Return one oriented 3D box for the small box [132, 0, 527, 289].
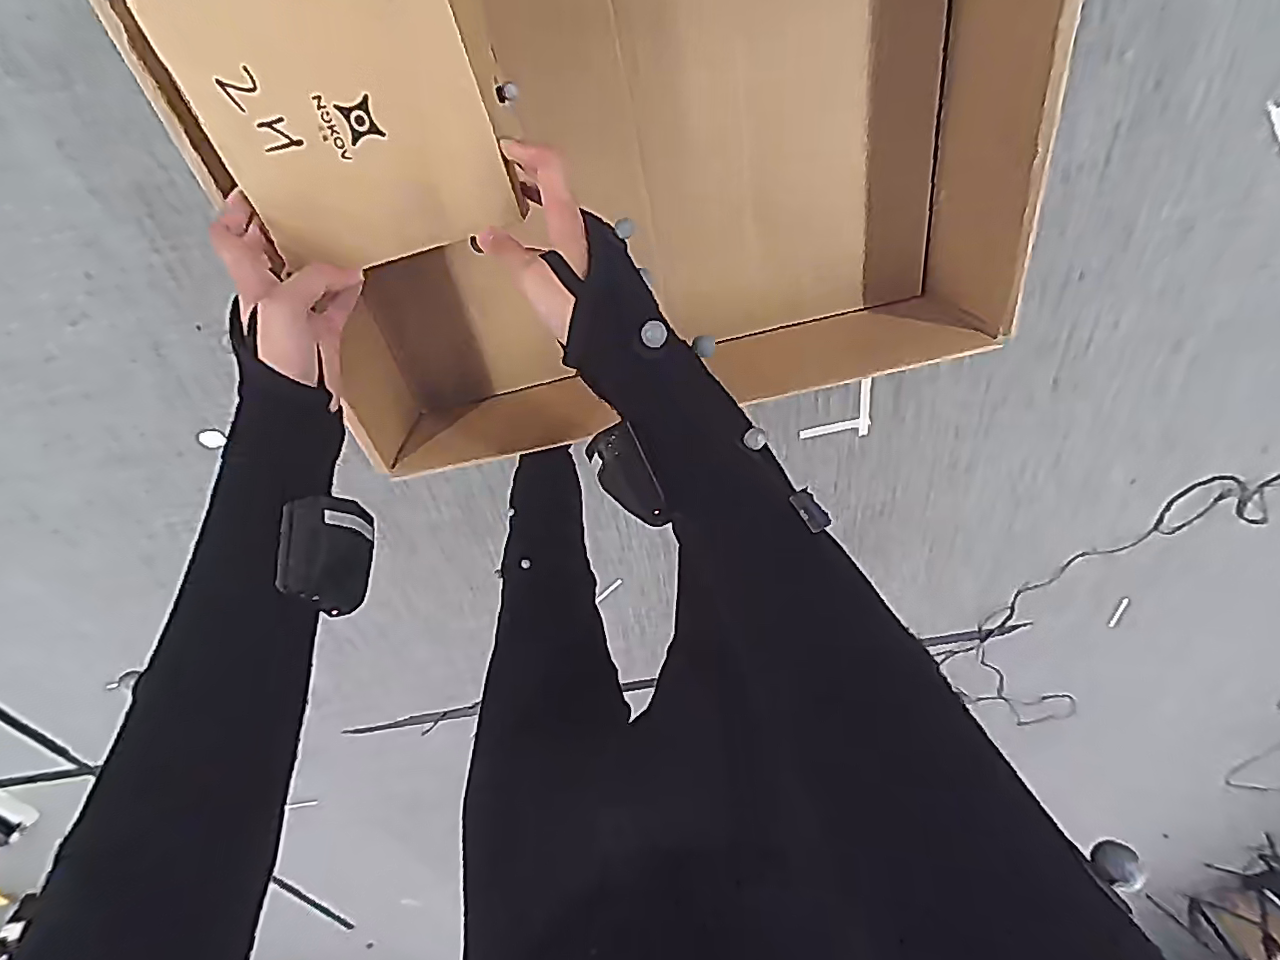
[{"bbox_3d":[-0.193,-0.269,0.408,0.179,0.176,0.168,-14,125,4],"label":"small box"}]
